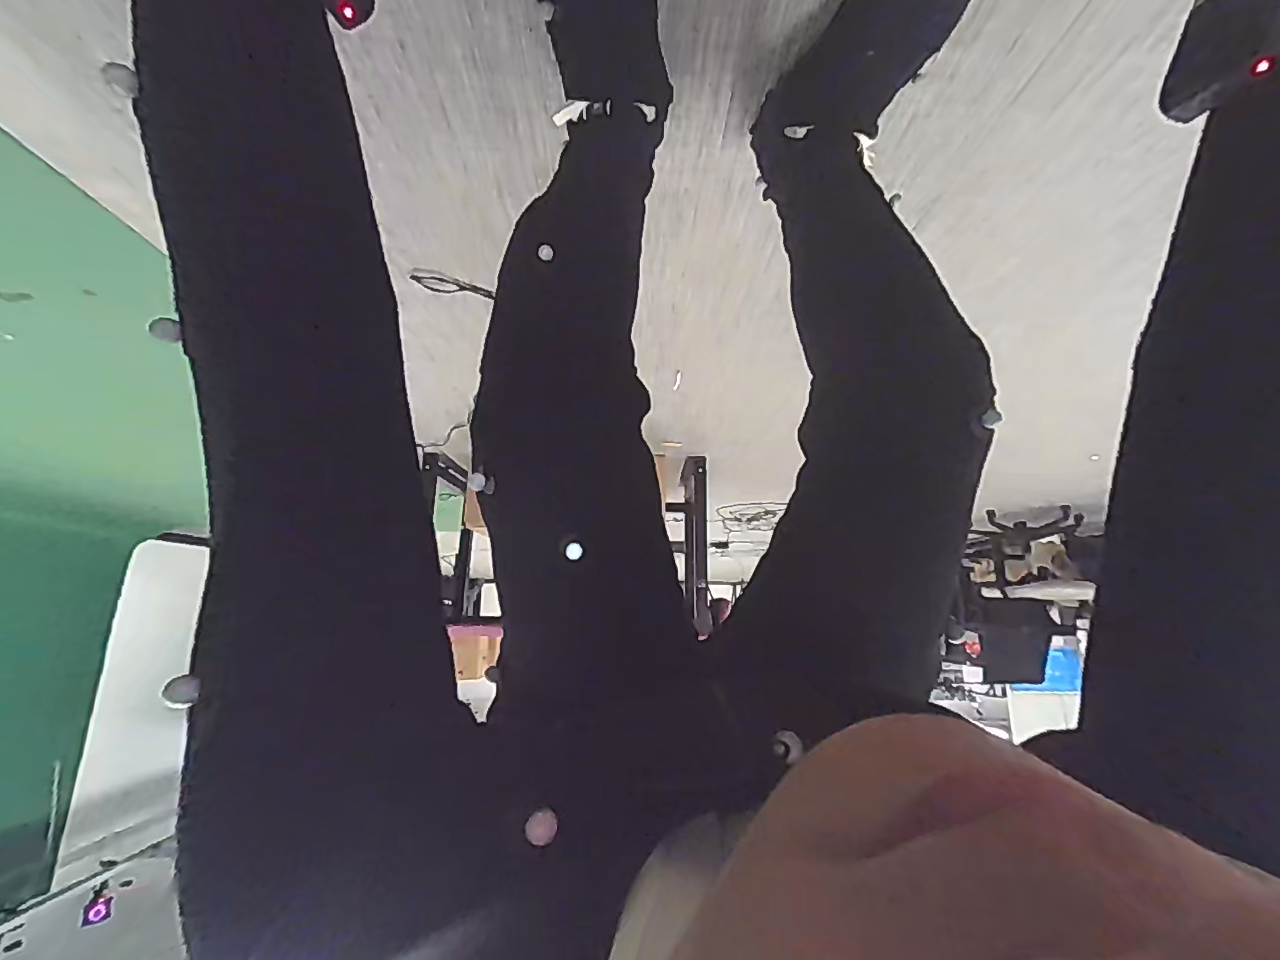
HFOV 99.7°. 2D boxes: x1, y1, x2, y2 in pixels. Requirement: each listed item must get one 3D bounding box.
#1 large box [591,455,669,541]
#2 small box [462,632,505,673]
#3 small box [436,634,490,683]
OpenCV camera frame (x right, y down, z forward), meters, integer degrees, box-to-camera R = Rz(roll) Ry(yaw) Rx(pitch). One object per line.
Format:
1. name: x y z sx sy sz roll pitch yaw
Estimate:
1. large box: -0.039 0.089 2.371 0.320 0.320 0.408 2 167 -1
2. small box: -0.709 0.776 2.439 0.168 0.176 0.179 0 165 -2
3. small box: -0.703 0.708 2.161 0.168 0.176 0.179 0 169 -3
